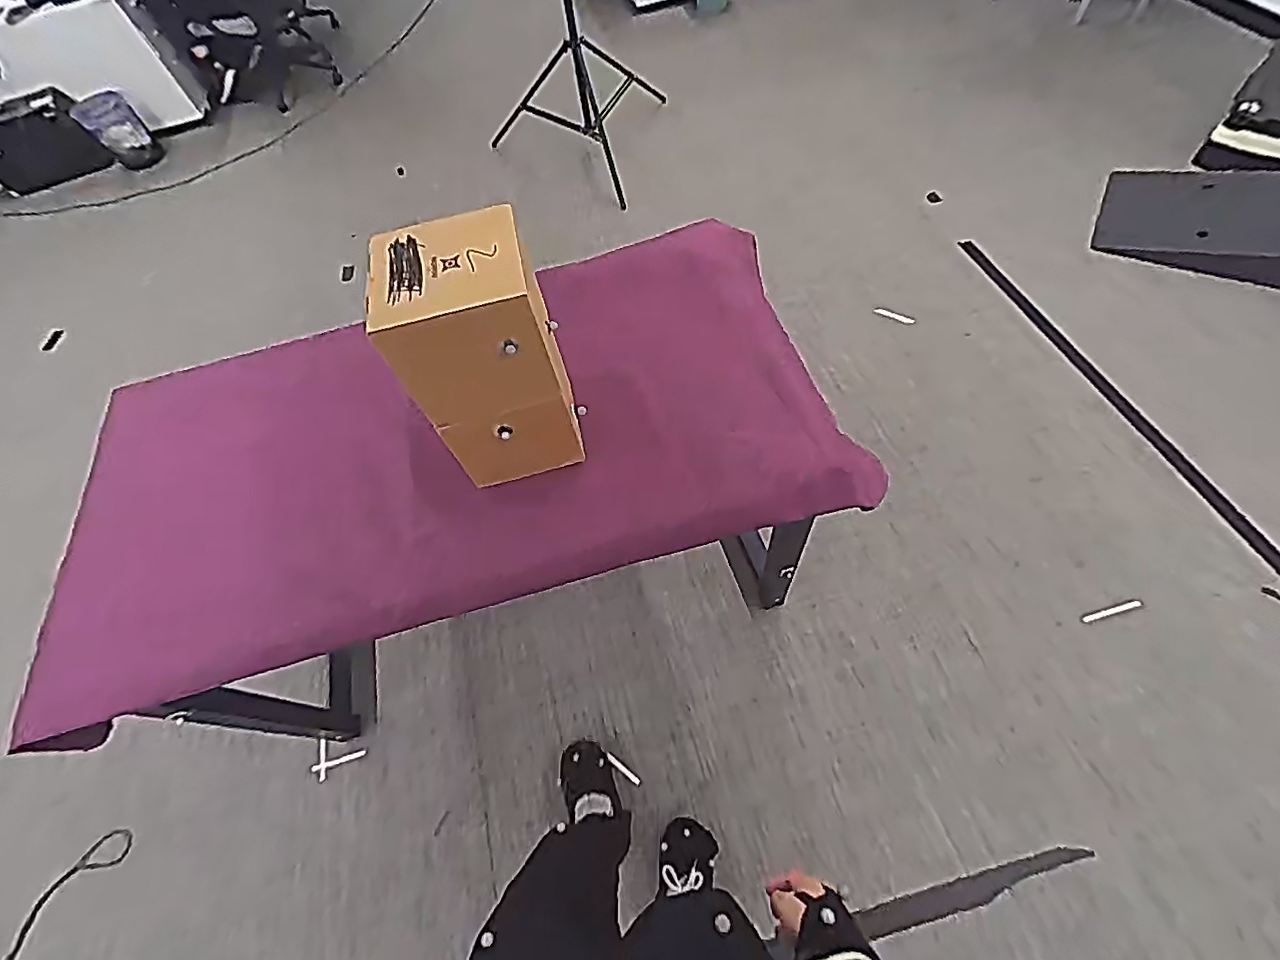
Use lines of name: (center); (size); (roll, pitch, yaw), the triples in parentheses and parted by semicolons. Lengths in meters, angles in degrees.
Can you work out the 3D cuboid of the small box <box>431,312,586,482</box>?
small box: (-0.193, -0.117, 0.815); (0.179, 0.176, 0.168); (-15, 60, -2)
